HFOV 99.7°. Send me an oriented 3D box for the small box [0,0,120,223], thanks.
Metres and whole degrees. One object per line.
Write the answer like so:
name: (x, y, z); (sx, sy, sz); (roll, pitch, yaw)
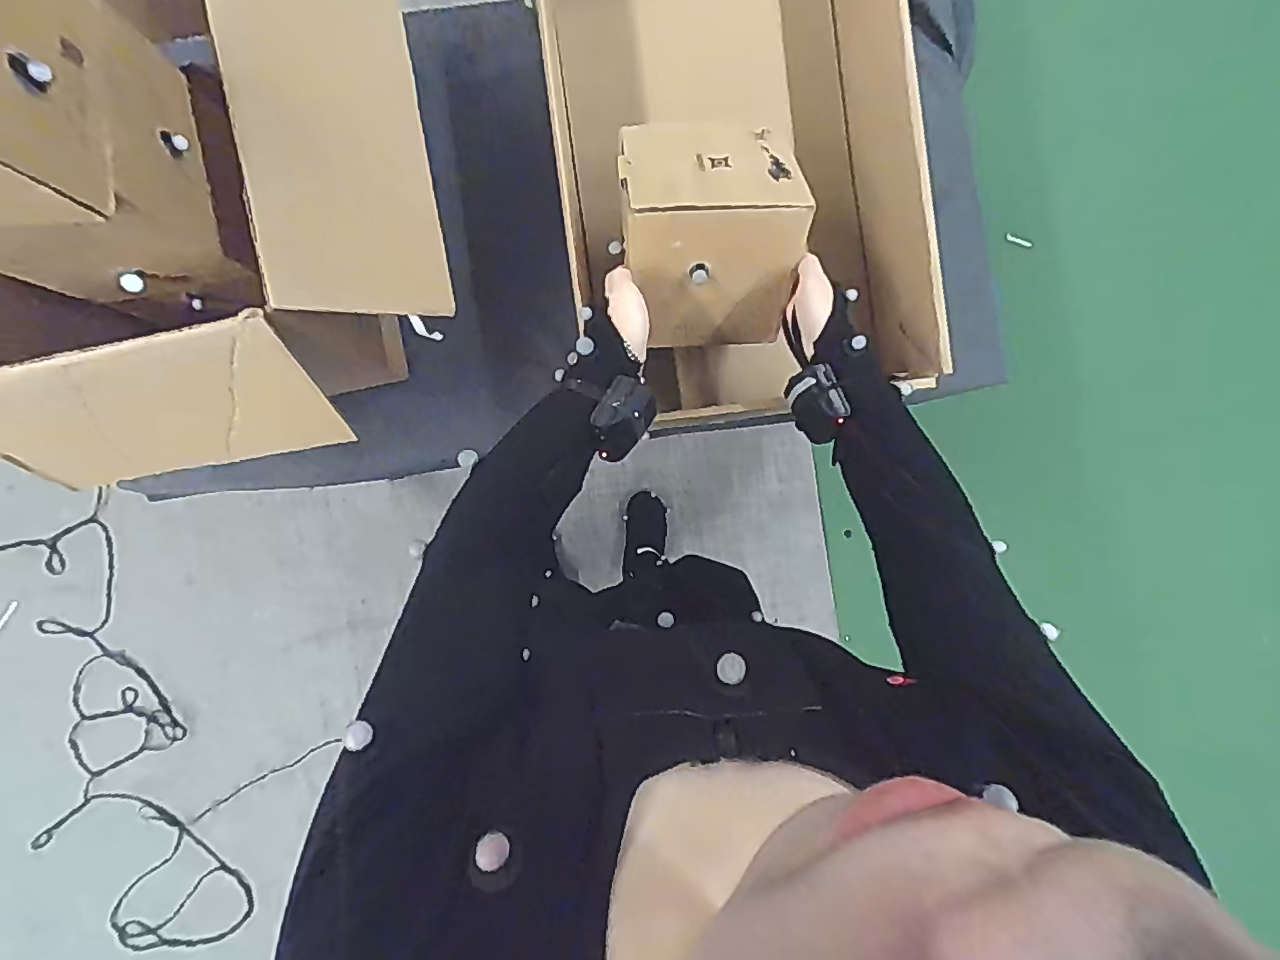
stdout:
small box: (-0.468, -0.264, 0.312); (0.179, 0.176, 0.168); (-4, 92, -3)
